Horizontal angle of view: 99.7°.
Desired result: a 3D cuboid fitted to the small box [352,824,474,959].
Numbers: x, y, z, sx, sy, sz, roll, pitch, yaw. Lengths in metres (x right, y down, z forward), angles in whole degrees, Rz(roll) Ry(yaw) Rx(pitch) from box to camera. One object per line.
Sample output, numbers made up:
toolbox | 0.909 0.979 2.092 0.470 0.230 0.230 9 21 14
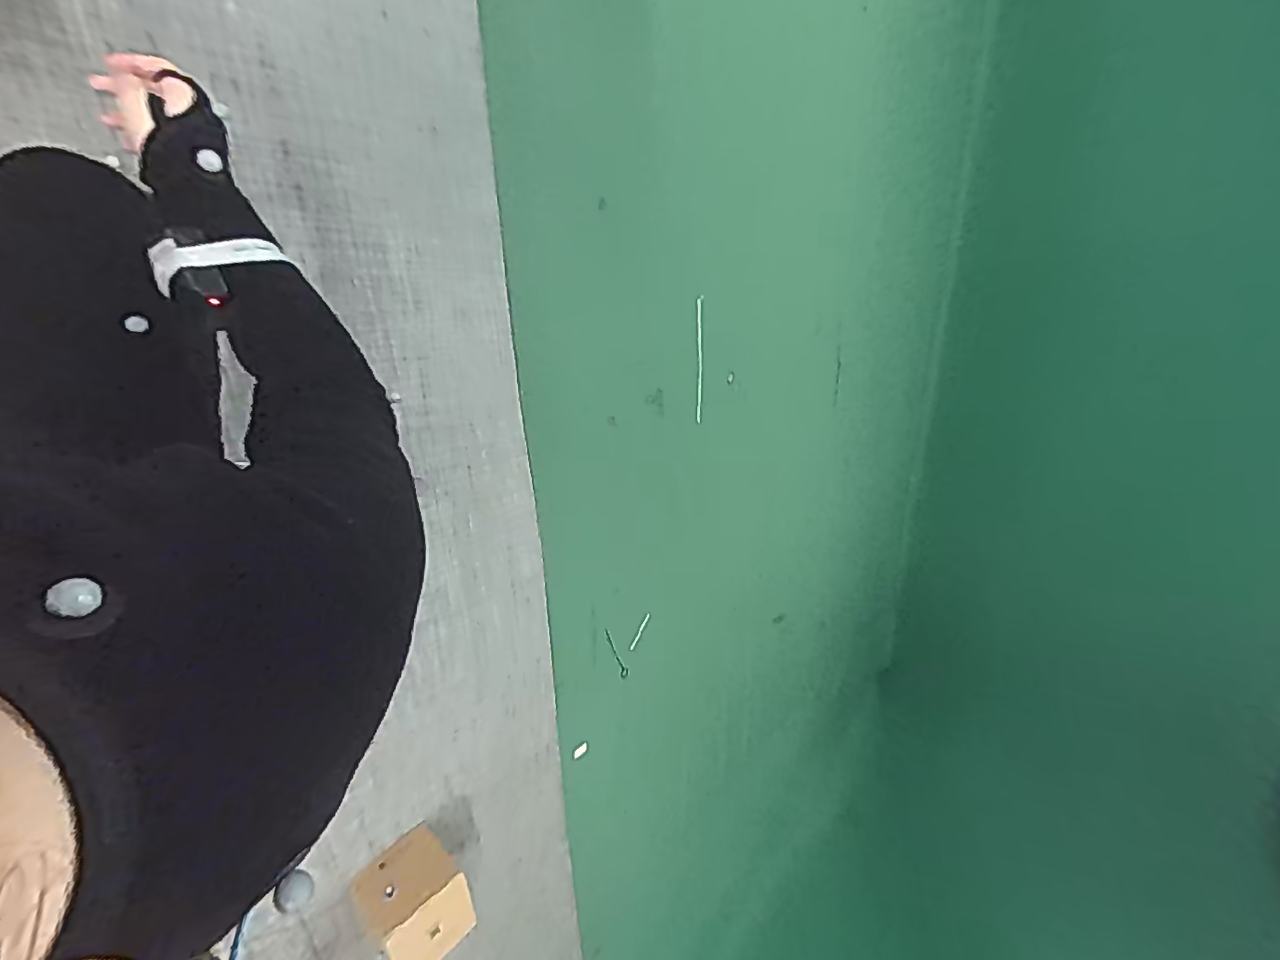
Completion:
small box | -0.476 0.868 1.133 0.168 0.176 0.179 -25 121 -42
